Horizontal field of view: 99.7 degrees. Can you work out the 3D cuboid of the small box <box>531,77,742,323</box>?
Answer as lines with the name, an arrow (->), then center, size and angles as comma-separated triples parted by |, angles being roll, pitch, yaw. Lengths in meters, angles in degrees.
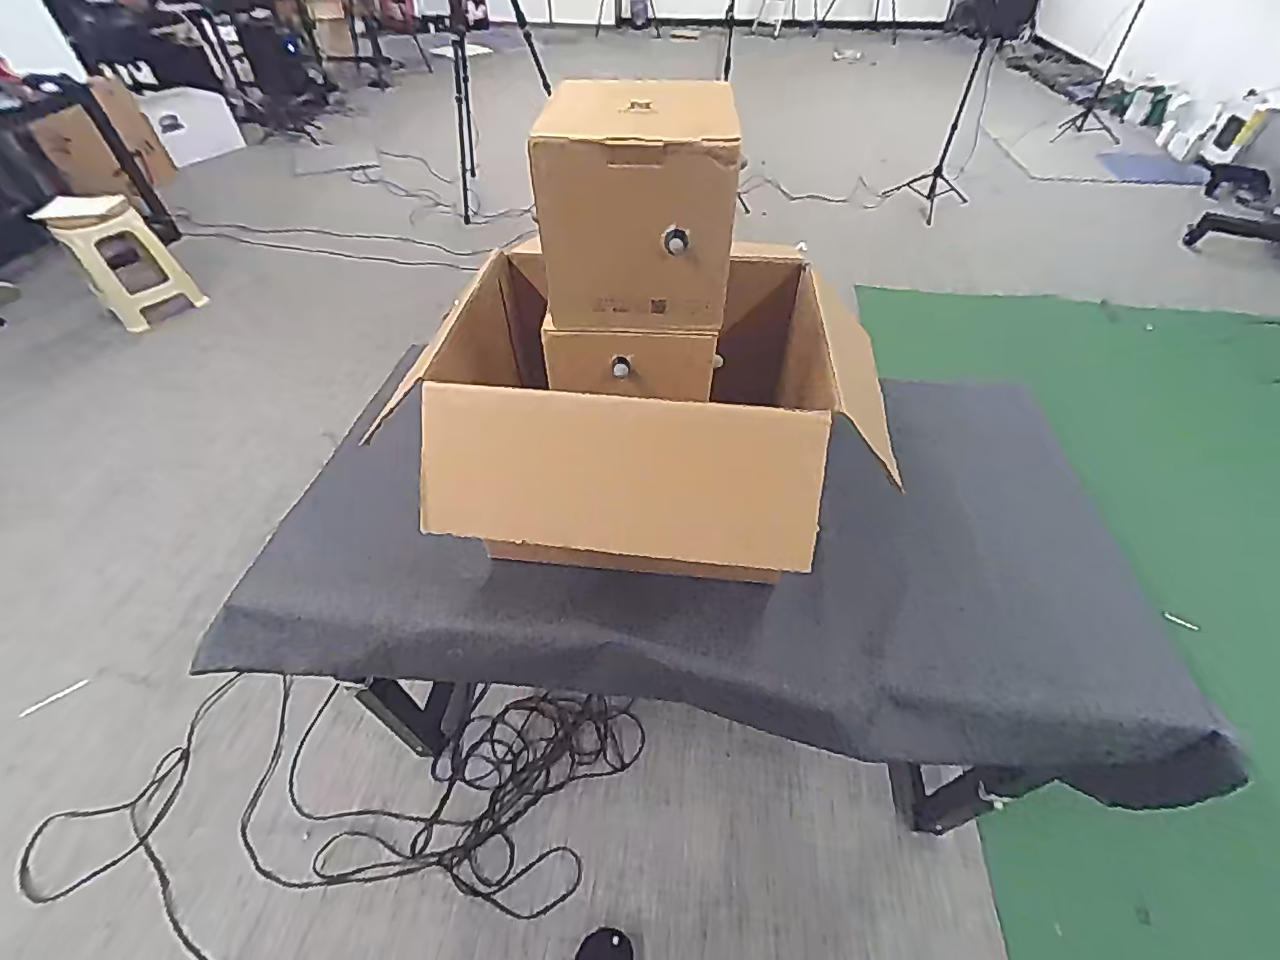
small box -> 0.001, -0.268, 0.523 | 0.168, 0.176, 0.179 | 3, 47, 1
